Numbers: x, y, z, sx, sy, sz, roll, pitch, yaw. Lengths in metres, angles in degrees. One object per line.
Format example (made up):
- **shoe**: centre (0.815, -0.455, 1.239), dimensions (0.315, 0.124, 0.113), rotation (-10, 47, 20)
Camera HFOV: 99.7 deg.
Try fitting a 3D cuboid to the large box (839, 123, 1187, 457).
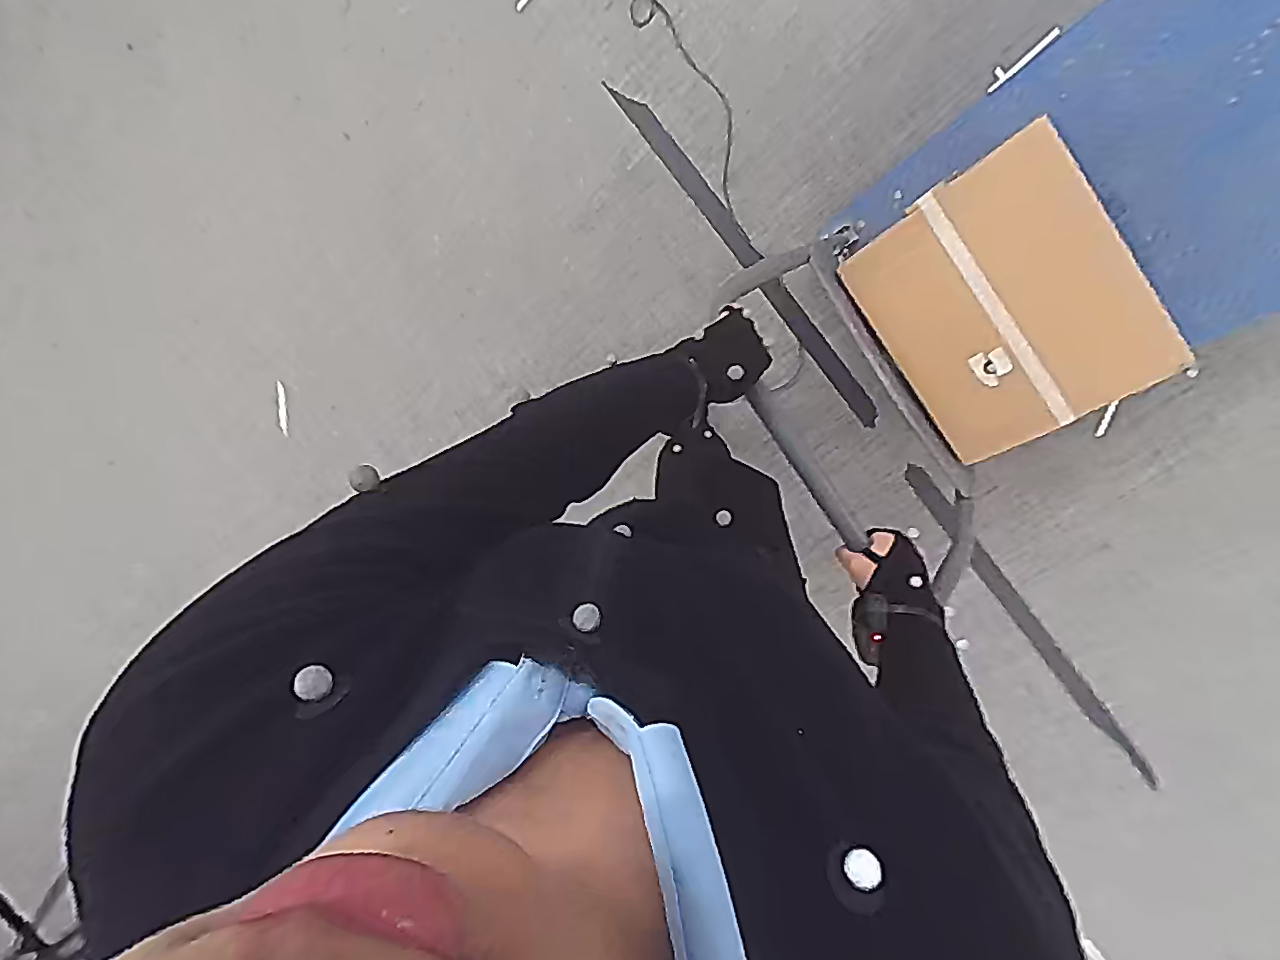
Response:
- **large box**: centre (0.613, -0.322, 0.952), dimensions (0.320, 0.320, 0.408), rotation (-33, 96, 36)
